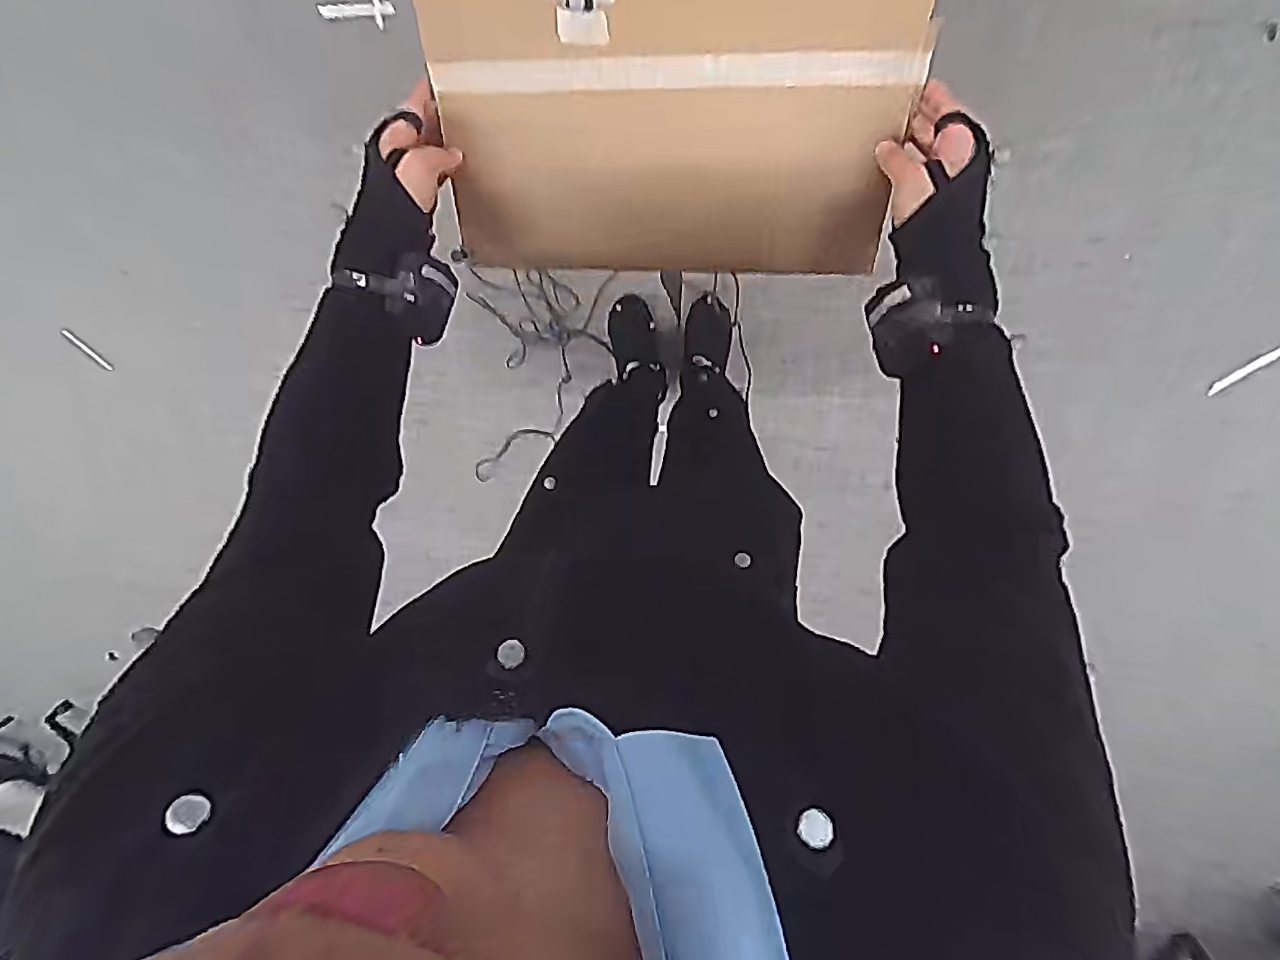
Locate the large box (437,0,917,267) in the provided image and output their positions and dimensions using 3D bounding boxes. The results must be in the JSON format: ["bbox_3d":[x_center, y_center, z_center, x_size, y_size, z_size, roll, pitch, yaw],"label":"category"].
[{"bbox_3d":[0.042,-0.434,0.594,0.408,0.320,0.320,3,124,6],"label":"large box"}]
